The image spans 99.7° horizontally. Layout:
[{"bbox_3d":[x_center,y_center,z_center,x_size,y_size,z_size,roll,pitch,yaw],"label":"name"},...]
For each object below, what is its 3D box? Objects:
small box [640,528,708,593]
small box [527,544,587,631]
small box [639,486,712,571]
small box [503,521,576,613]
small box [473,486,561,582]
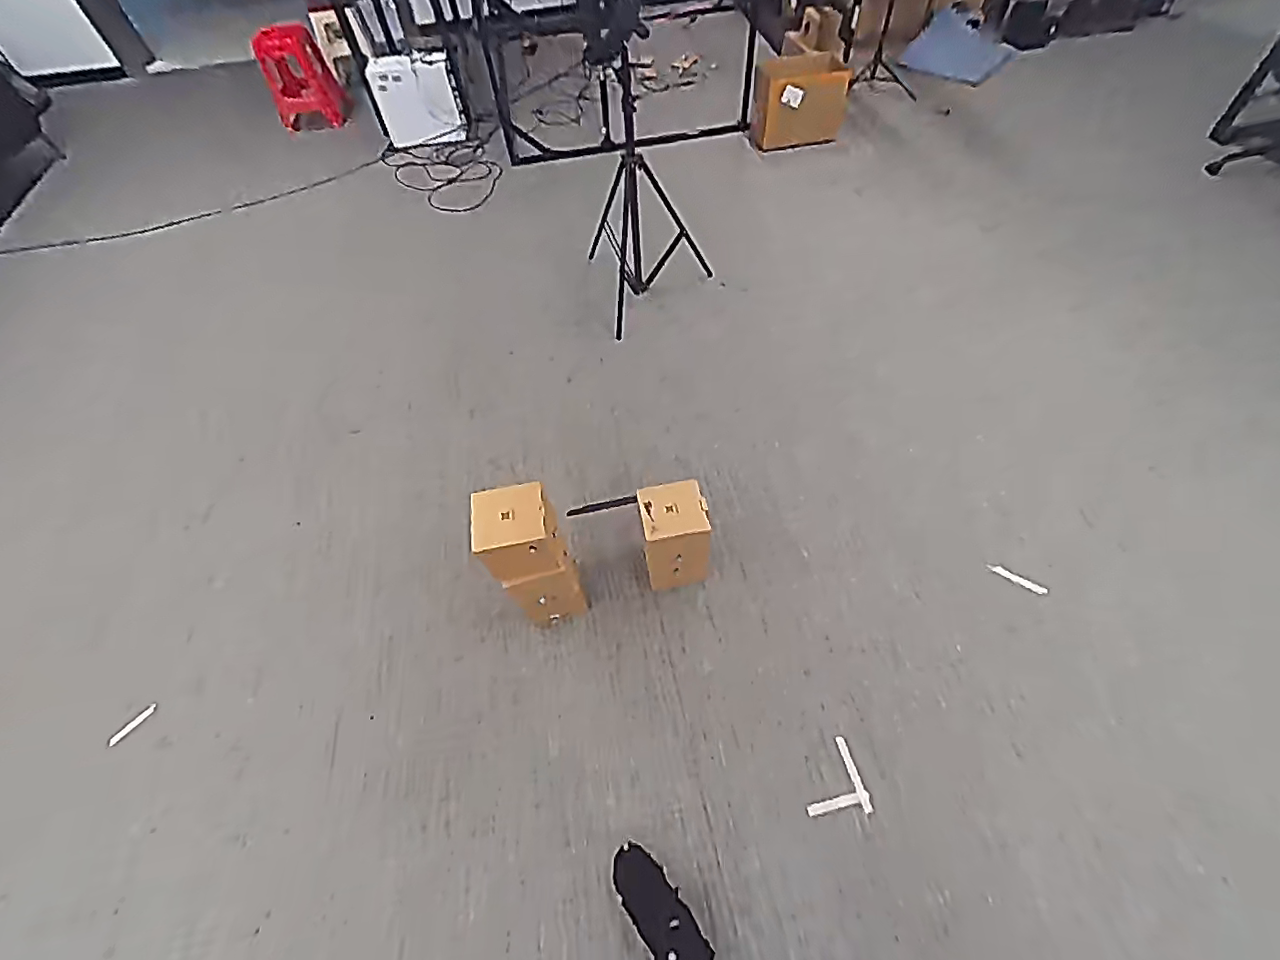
[{"bbox_3d":[0.104,0.231,1.653,0.179,0.176,0.168,-10,56,-4],"label":"small box"},{"bbox_3d":[-0.264,0.324,1.615,0.168,0.176,0.179,-16,57,-7],"label":"small box"},{"bbox_3d":[0.095,0.138,1.518,0.179,0.176,0.168,-9,55,-3],"label":"small box"},{"bbox_3d":[-0.280,0.237,1.477,0.168,0.176,0.179,-15,57,-5],"label":"small box"},{"bbox_3d":[-0.304,0.140,1.348,0.179,0.176,0.168,-11,56,-3],"label":"small box"}]
